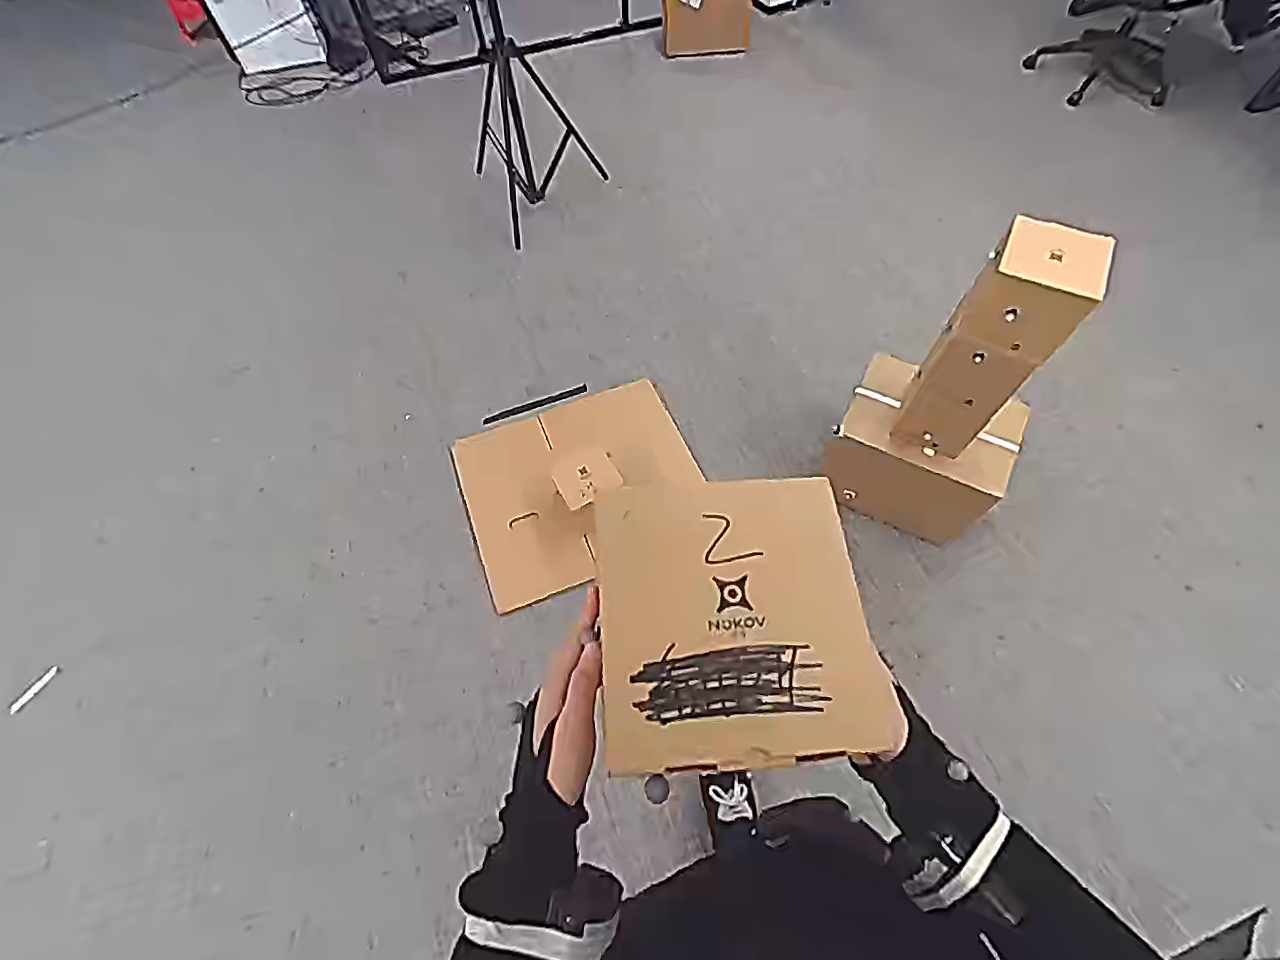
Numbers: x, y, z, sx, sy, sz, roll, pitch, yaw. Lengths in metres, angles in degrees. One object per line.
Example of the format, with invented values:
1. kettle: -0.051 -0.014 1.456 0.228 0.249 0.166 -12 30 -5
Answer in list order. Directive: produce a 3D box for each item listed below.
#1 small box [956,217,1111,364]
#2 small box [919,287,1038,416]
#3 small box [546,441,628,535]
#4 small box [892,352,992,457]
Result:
1. small box: 0.723 -0.349 1.010 0.168 0.176 0.179 24 64 15
2. small box: 0.726 -0.271 1.153 0.168 0.176 0.179 25 63 16
3. small box: -0.147 0.026 1.551 0.168 0.176 0.179 -29 64 -11
4. small box: 0.730 -0.187 1.294 0.168 0.176 0.179 24 65 15
